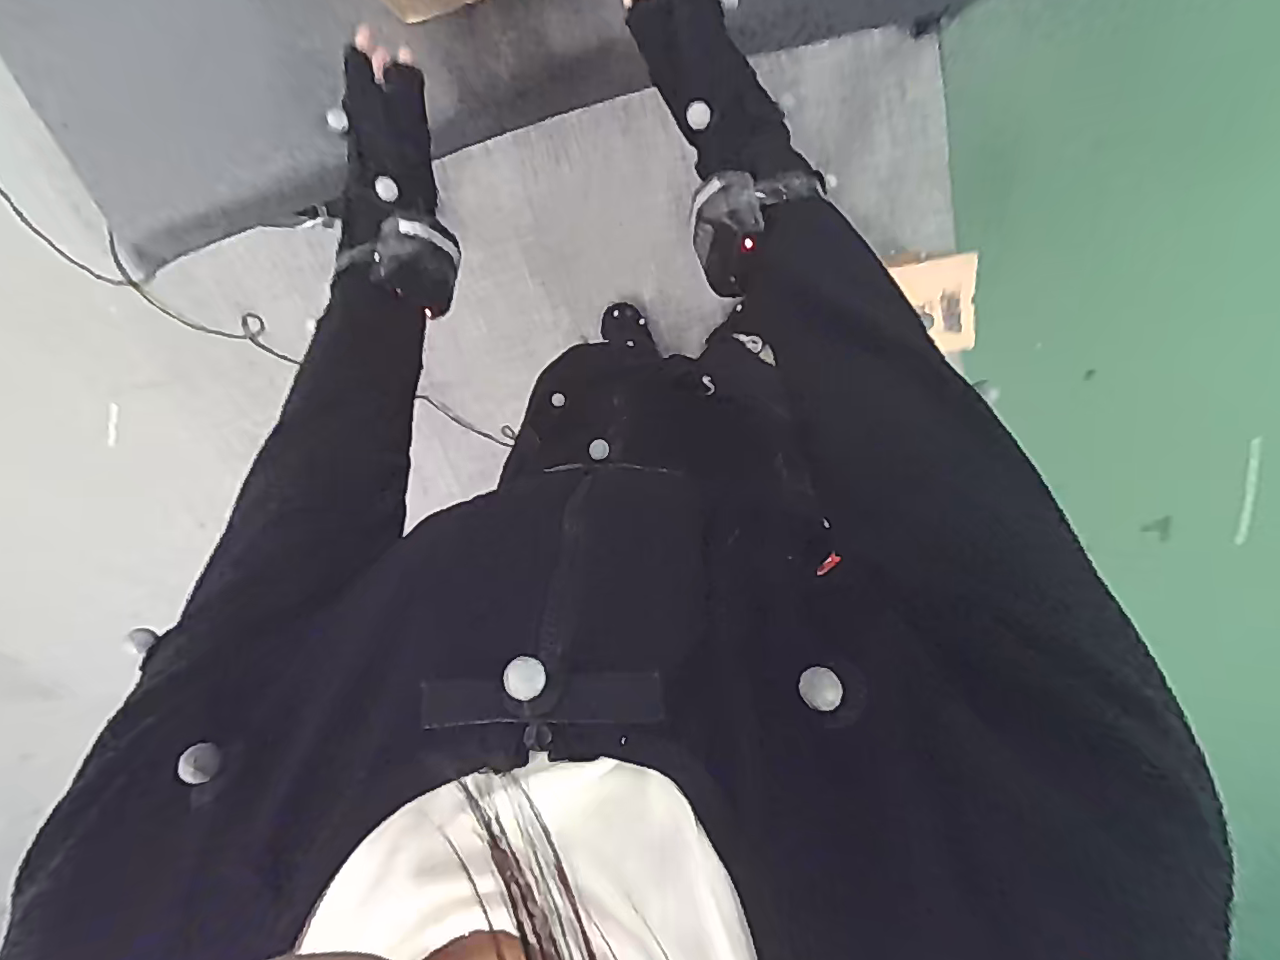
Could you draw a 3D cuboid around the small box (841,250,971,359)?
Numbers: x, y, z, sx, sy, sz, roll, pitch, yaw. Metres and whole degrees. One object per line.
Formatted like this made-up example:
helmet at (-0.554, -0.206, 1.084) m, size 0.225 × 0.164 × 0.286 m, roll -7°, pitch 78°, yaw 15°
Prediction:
small box at (0.502, -0.342, 1.043) m, size 0.179 × 0.176 × 0.168 m, roll -8°, pitch 112°, yaw 7°
